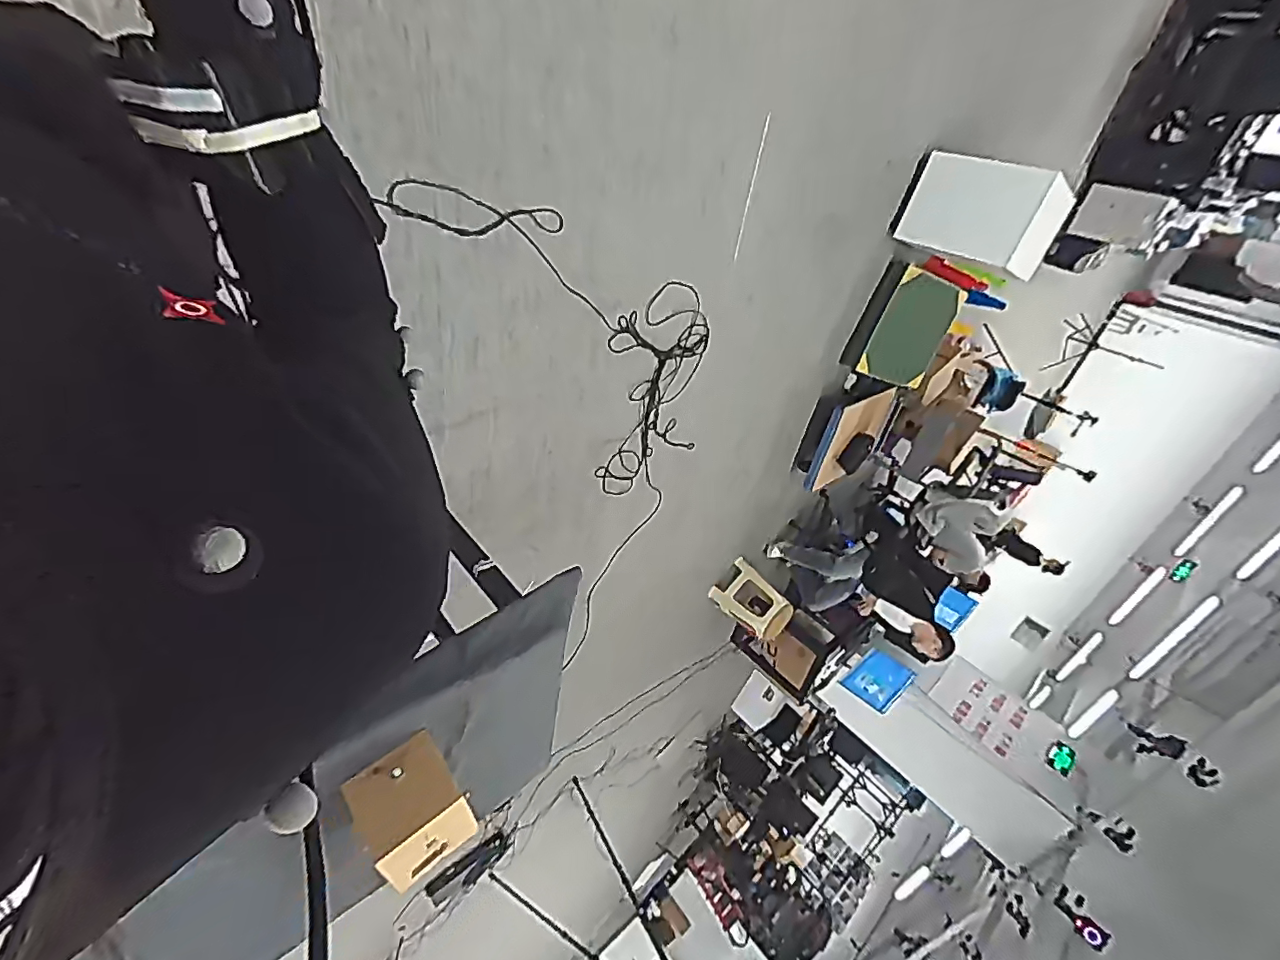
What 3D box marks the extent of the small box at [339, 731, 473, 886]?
[{"bbox_3d":[-0.448,0.625,1.043,0.168,0.176,0.179,-29,140,-31],"label":"small box"}]
